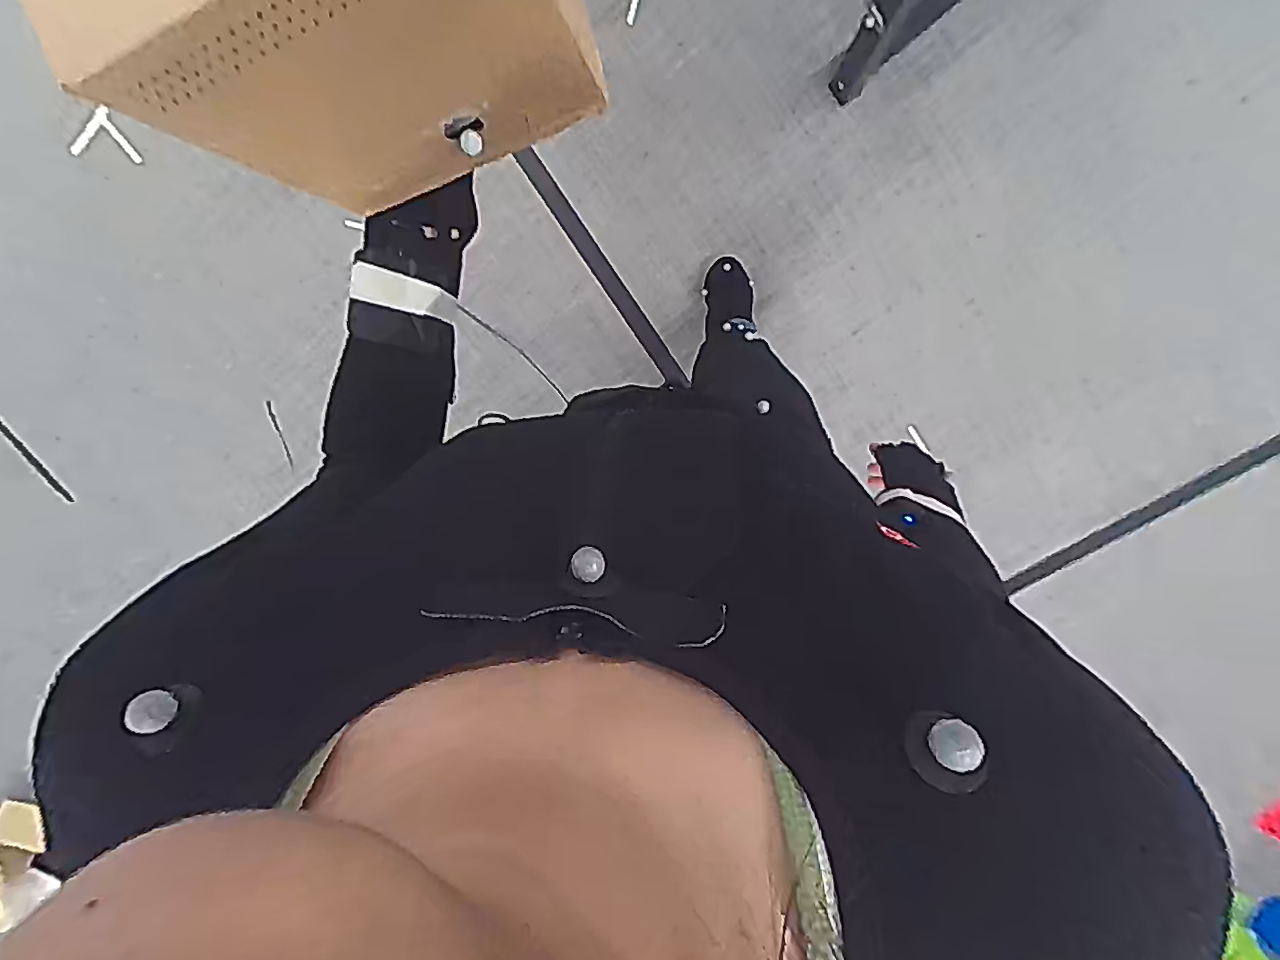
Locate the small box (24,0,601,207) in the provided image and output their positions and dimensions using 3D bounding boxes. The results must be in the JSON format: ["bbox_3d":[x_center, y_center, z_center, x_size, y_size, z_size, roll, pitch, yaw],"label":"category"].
[{"bbox_3d":[-0.141,-0.258,0.242,0.179,0.176,0.168,-16,97,14],"label":"small box"}]
